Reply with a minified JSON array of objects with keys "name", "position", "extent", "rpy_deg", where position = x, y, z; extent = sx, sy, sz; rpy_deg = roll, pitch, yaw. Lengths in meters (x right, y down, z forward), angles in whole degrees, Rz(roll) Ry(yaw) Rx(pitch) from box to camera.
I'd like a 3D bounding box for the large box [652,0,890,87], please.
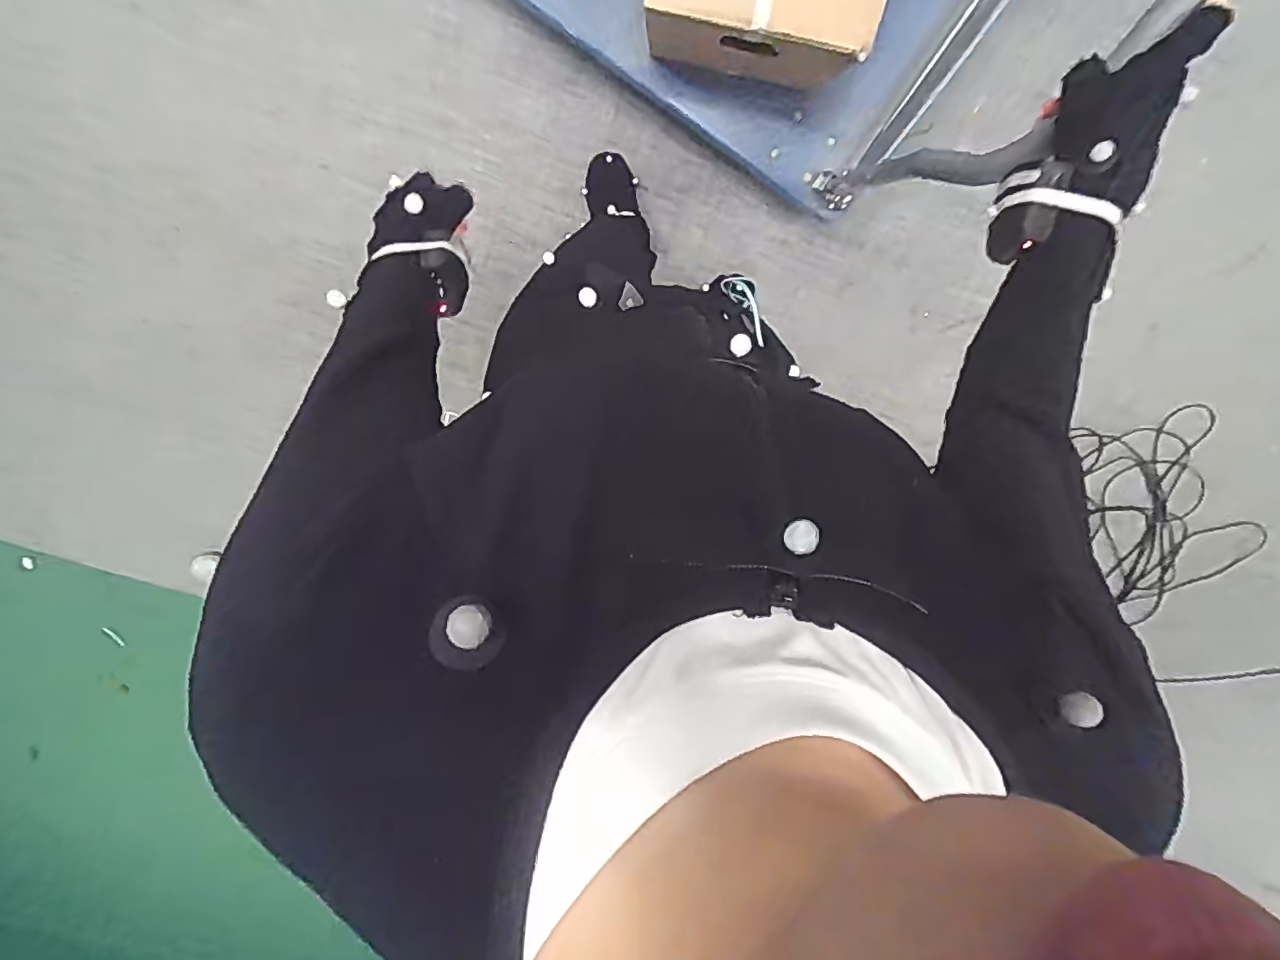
[{"name":"large box","position":[0.202,-0.841,0.757],"extent":[0.320,0.320,0.408],"rpy_deg":[10,120,-2]}]
